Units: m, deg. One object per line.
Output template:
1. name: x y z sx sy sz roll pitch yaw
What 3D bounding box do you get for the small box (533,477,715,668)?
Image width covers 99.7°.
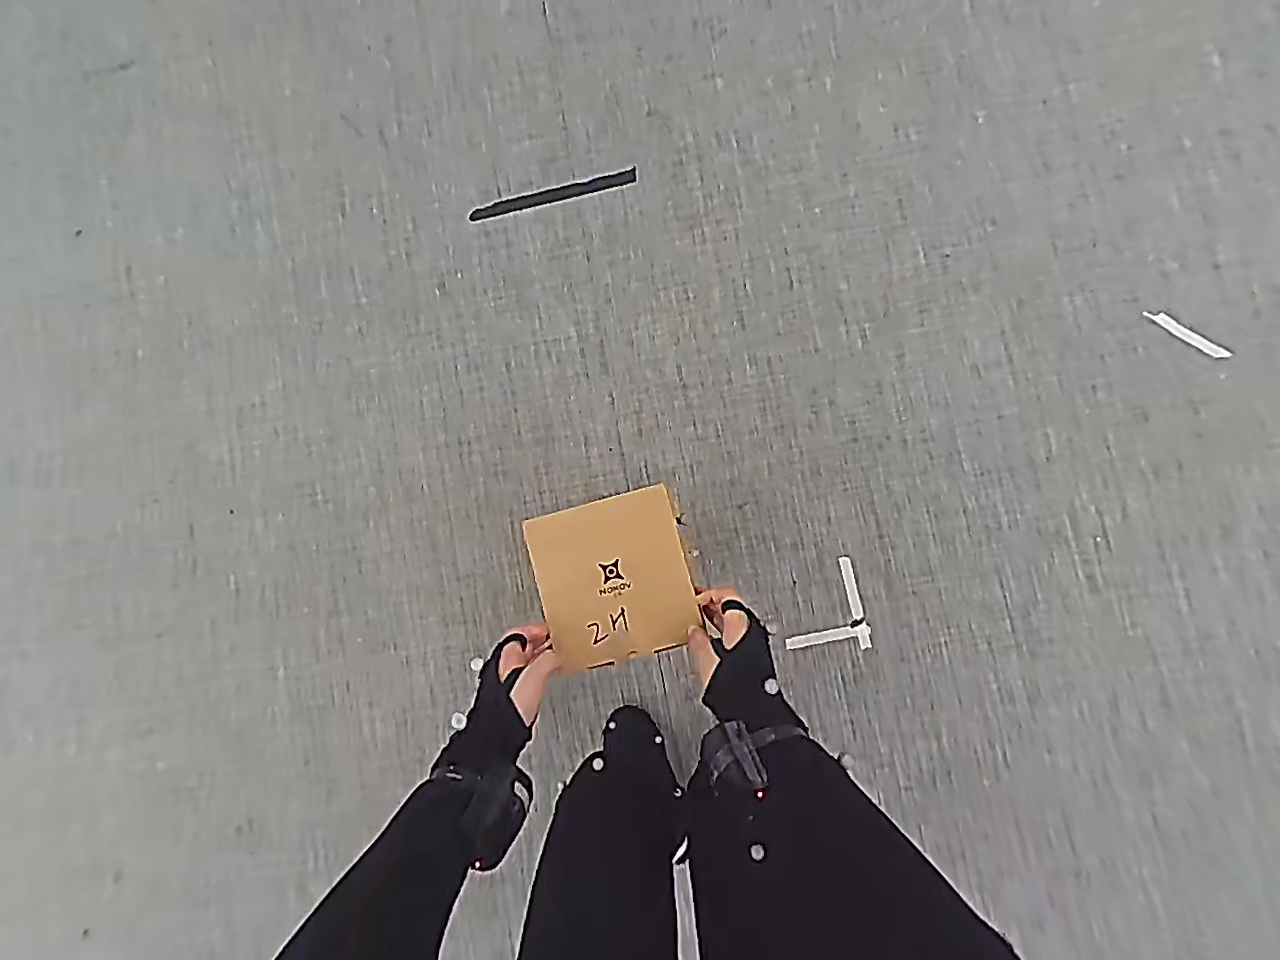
1. small box: -0.014 0.105 0.663 0.168 0.176 0.179 -16 86 4
